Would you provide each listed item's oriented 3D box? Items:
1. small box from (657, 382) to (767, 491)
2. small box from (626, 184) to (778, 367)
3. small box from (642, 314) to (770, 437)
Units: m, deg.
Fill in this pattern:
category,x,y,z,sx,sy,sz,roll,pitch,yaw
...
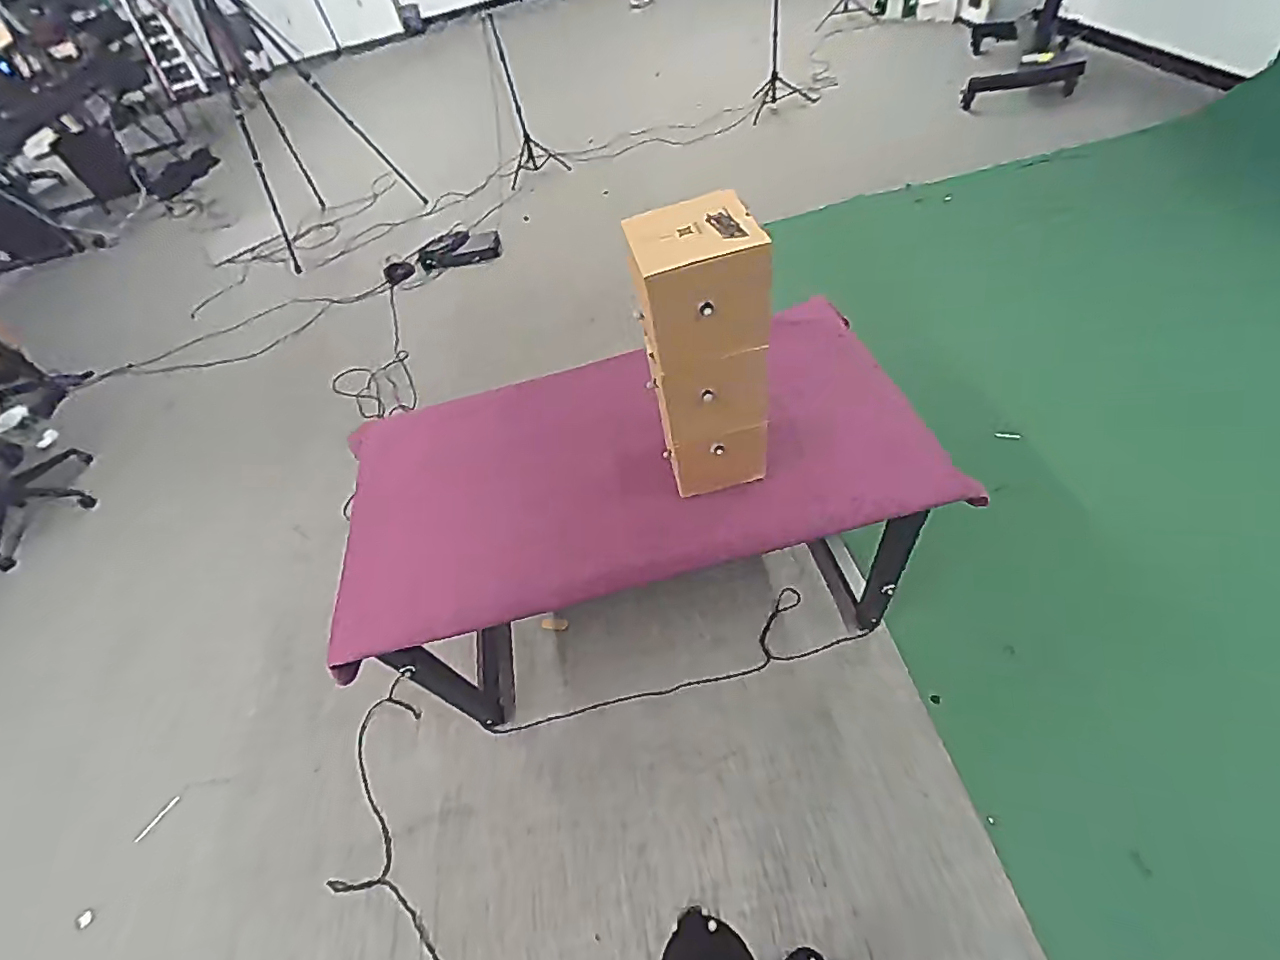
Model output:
category,x,y,z,sx,sy,sz,roll,pitch,yaw
small box,0.142,-0.099,1.055,0.179,0.176,0.168,-13,52,2
small box,0.090,-0.296,0.798,0.179,0.176,0.168,-15,52,1
small box,0.116,-0.197,0.927,0.179,0.176,0.168,-15,53,2
